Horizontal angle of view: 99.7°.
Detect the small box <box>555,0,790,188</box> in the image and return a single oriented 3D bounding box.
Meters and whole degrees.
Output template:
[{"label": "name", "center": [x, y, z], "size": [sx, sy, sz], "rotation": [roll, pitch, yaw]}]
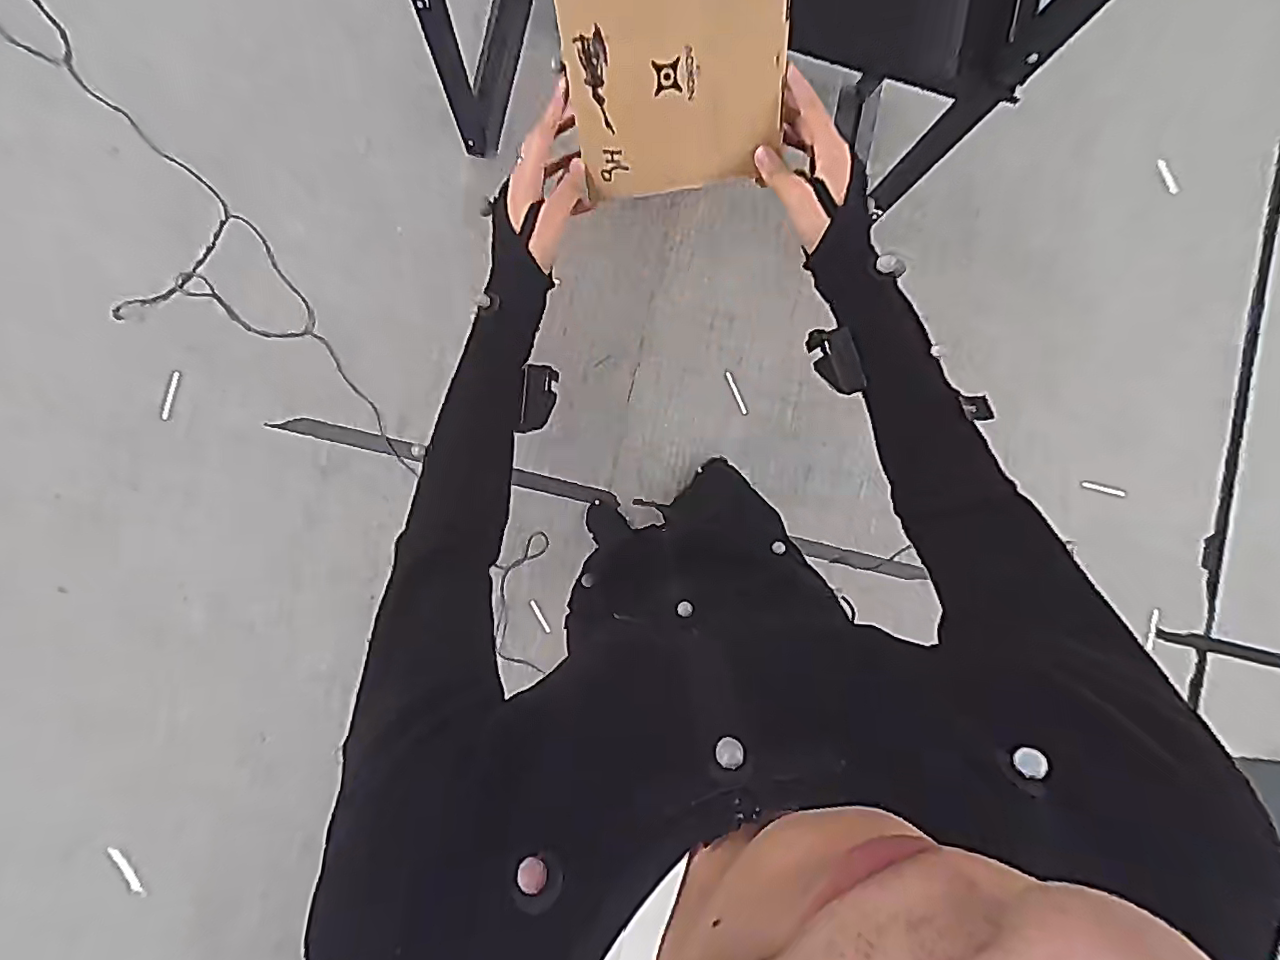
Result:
[{"label": "small box", "center": [0.022, -0.382, 0.480], "size": [0.179, 0.176, 0.168], "rotation": [-8, 133, 1]}]
